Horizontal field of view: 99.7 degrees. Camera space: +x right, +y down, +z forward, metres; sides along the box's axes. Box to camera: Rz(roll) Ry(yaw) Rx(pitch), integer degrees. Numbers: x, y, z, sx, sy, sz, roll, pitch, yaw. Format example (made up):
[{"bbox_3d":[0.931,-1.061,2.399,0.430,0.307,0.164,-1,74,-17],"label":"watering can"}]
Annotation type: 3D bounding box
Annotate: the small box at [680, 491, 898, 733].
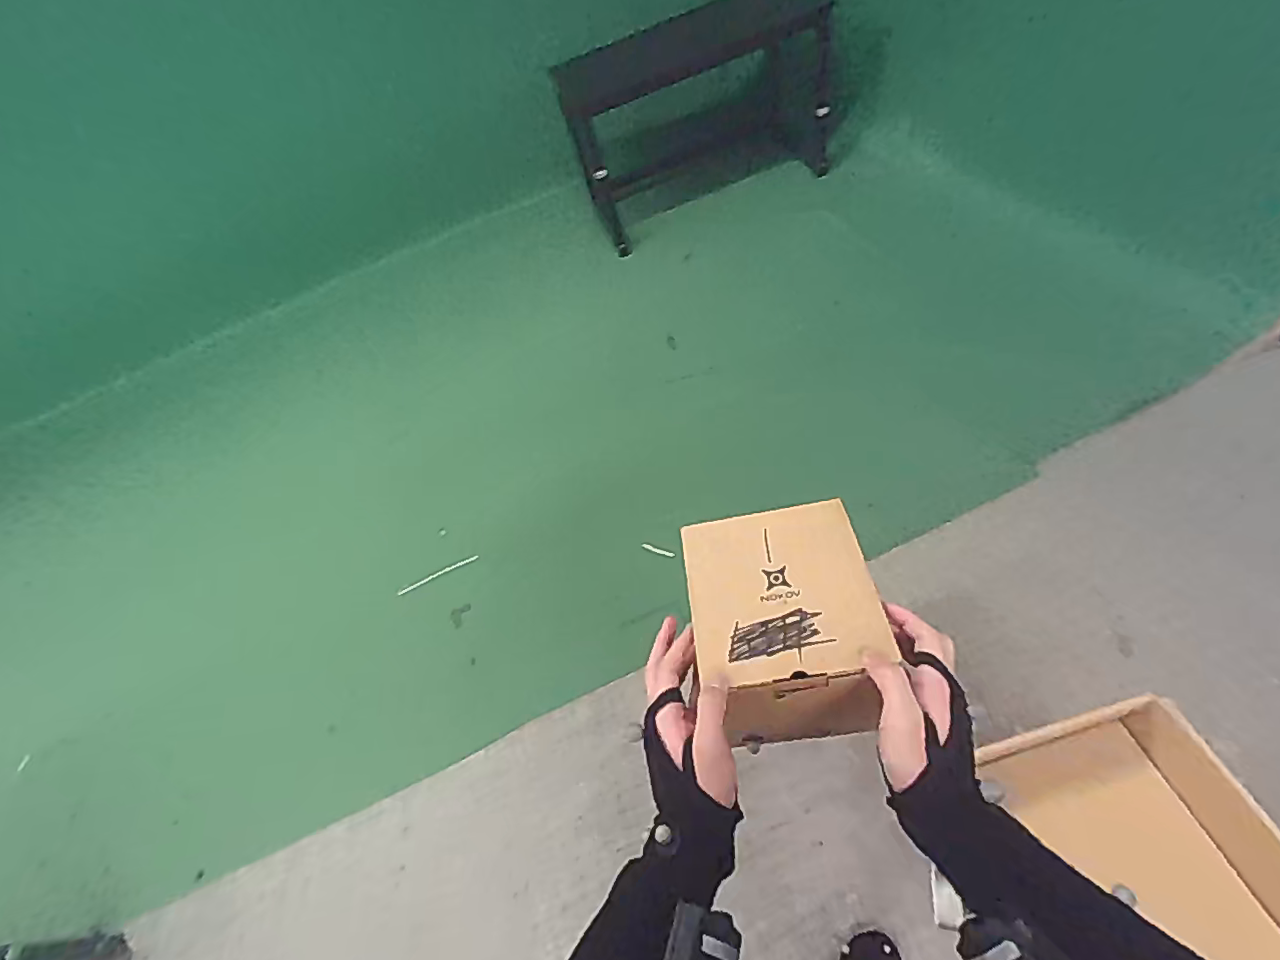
[{"bbox_3d":[0.142,0.141,0.548,0.168,0.176,0.179,-11,47,8],"label":"small box"}]
